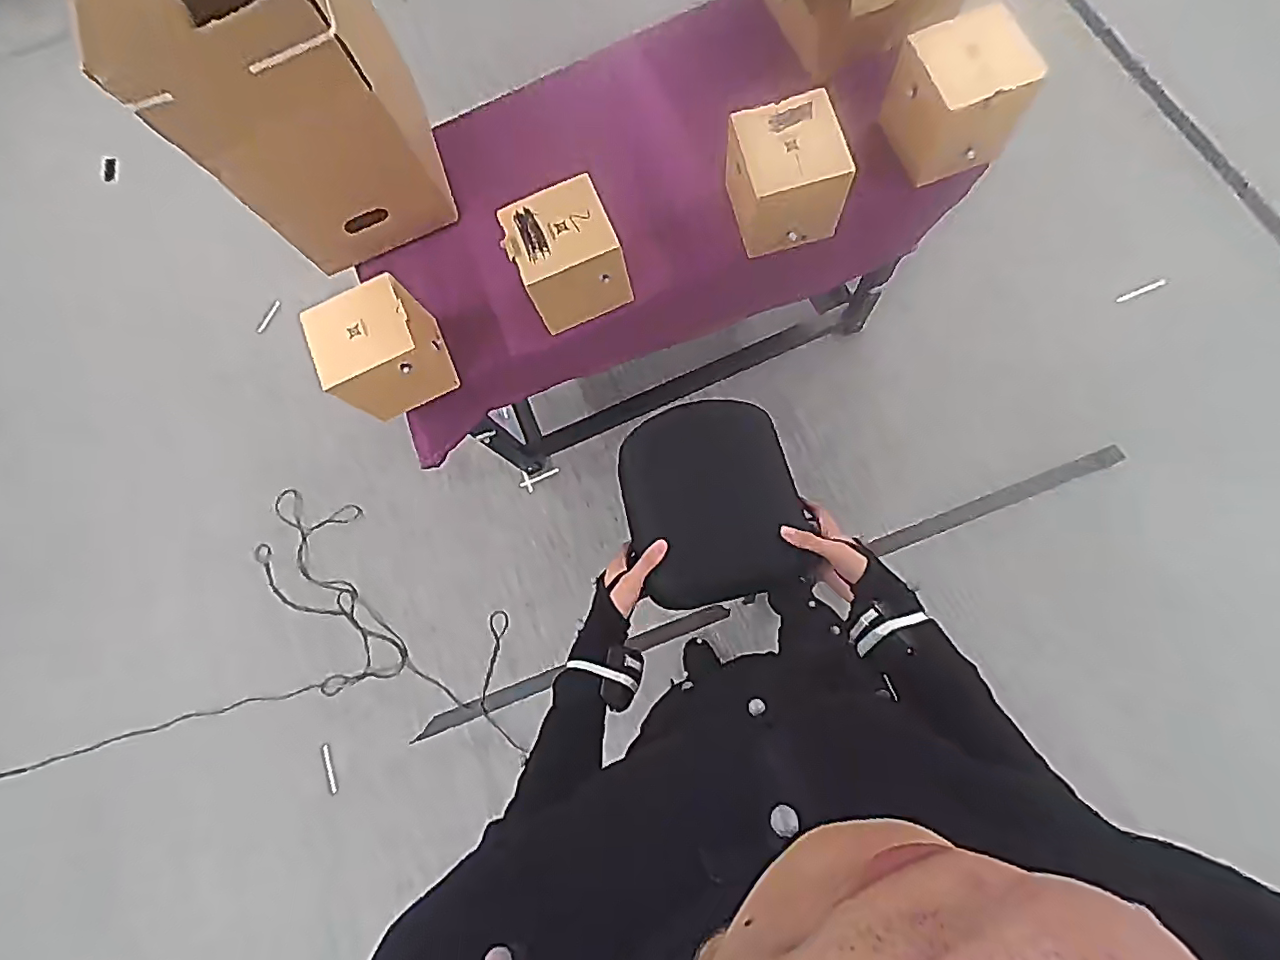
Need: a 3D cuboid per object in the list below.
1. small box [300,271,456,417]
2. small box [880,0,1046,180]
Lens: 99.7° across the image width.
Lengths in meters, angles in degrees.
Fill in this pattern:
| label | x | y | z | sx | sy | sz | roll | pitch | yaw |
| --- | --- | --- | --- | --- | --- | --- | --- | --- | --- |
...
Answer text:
| label | x | y | z | sx | sy | sz | roll | pitch | yaw |
| --- | --- | --- | --- | --- | --- | --- | --- | --- | --- |
| small box | -0.473 | -0.240 | 0.997 | 0.179 | 0.176 | 0.168 | -25 | 76 | 0 |
| small box | 0.555 | -0.682 | 0.959 | 0.168 | 0.176 | 0.179 | -18 | 76 | 4 |
